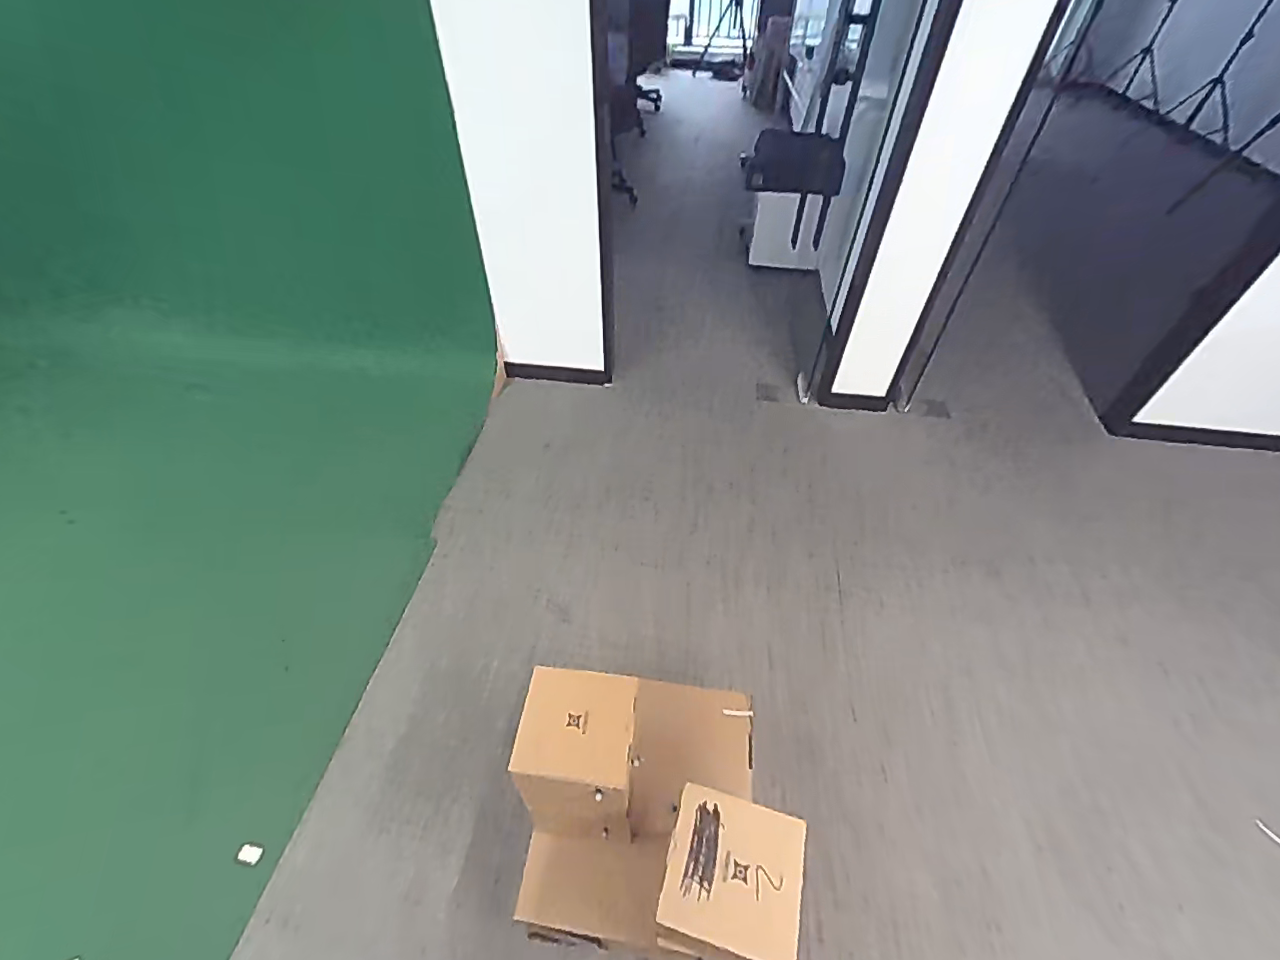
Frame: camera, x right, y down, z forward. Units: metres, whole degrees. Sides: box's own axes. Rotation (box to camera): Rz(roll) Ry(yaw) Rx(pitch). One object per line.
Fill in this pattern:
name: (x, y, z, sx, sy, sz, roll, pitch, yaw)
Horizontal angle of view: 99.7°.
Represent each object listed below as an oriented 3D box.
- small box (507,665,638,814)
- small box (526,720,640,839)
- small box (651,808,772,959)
small box: (-0.100, 0.428, 0.891, 0.179, 0.176, 0.168, 6, 44, 4)
small box: (-0.097, 0.547, 1.003, 0.179, 0.176, 0.168, 4, 44, 4)
small box: (0.113, 0.673, 0.881, 0.168, 0.176, 0.179, 10, 46, 7)
